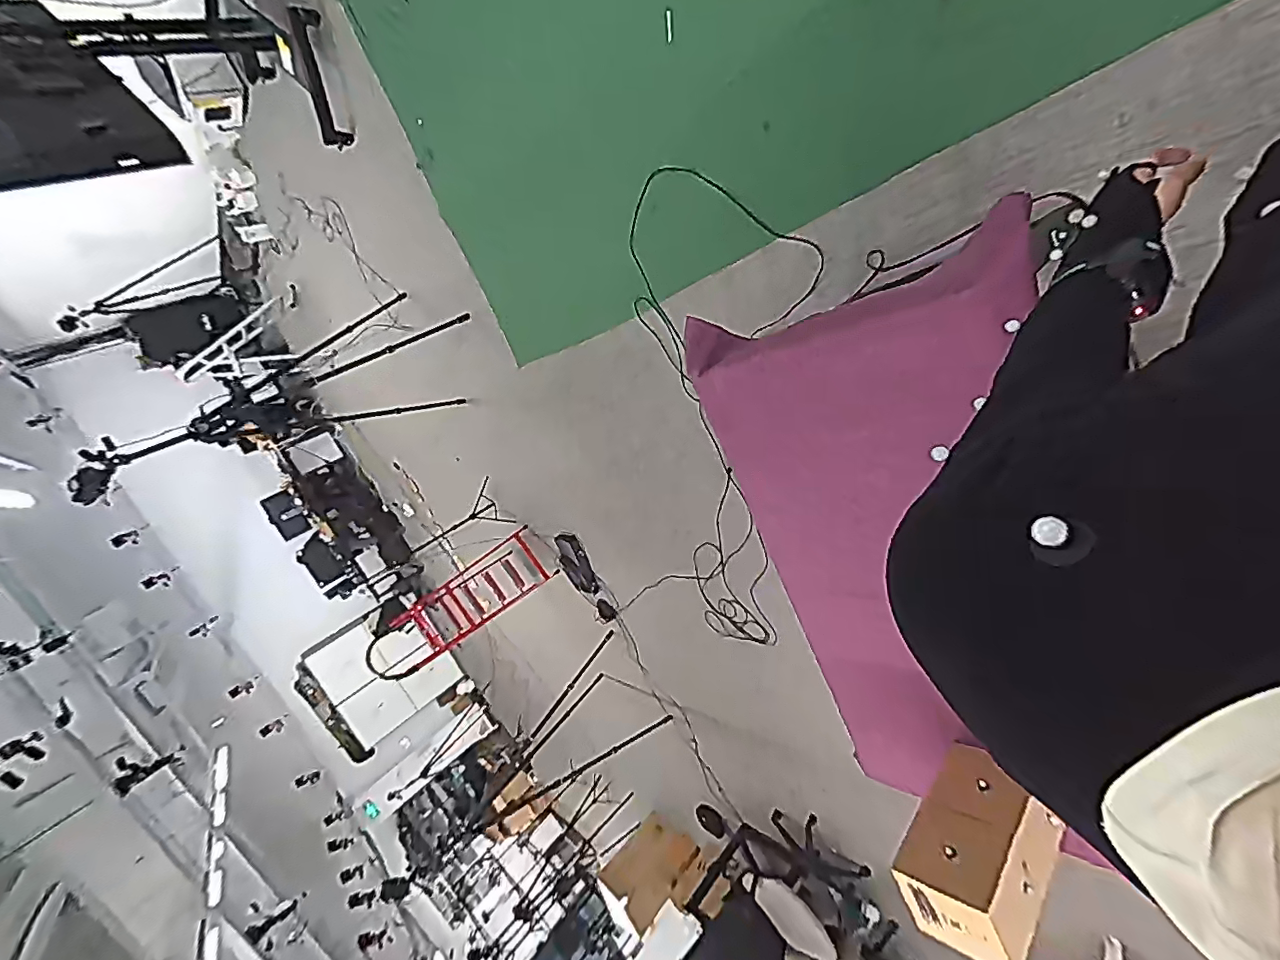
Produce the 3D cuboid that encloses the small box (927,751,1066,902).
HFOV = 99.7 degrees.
[{"bbox_3d":[0.729,0.691,1.105,0.179,0.176,0.168,-12,109,52],"label":"small box"}]
